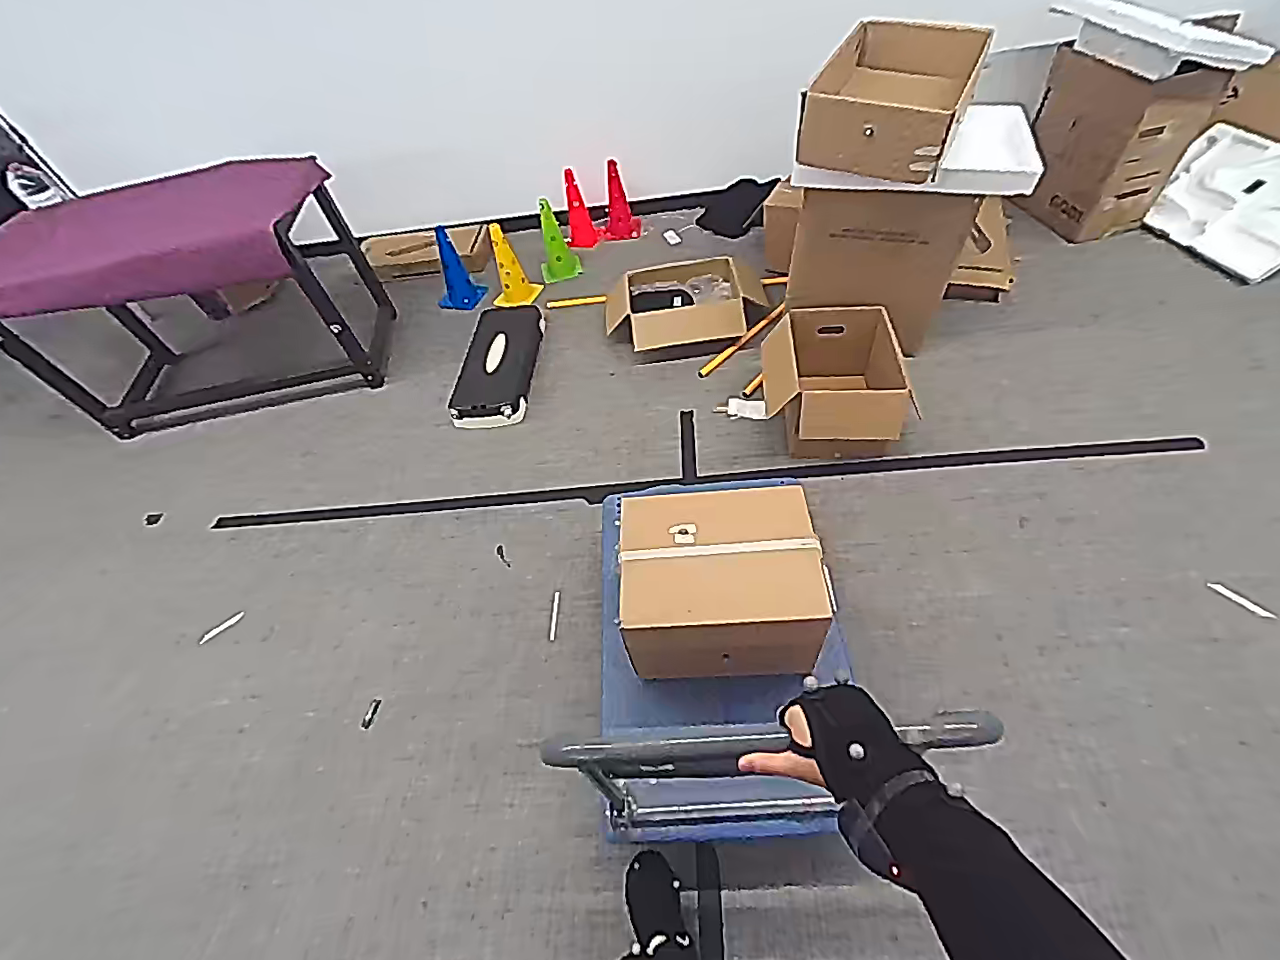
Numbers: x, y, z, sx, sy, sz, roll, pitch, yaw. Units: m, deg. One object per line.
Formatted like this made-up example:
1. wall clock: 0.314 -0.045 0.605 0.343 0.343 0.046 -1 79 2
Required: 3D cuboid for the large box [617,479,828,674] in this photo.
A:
1. large box: 0.172 0.229 1.226 0.408 0.320 0.320 -6 51 6
